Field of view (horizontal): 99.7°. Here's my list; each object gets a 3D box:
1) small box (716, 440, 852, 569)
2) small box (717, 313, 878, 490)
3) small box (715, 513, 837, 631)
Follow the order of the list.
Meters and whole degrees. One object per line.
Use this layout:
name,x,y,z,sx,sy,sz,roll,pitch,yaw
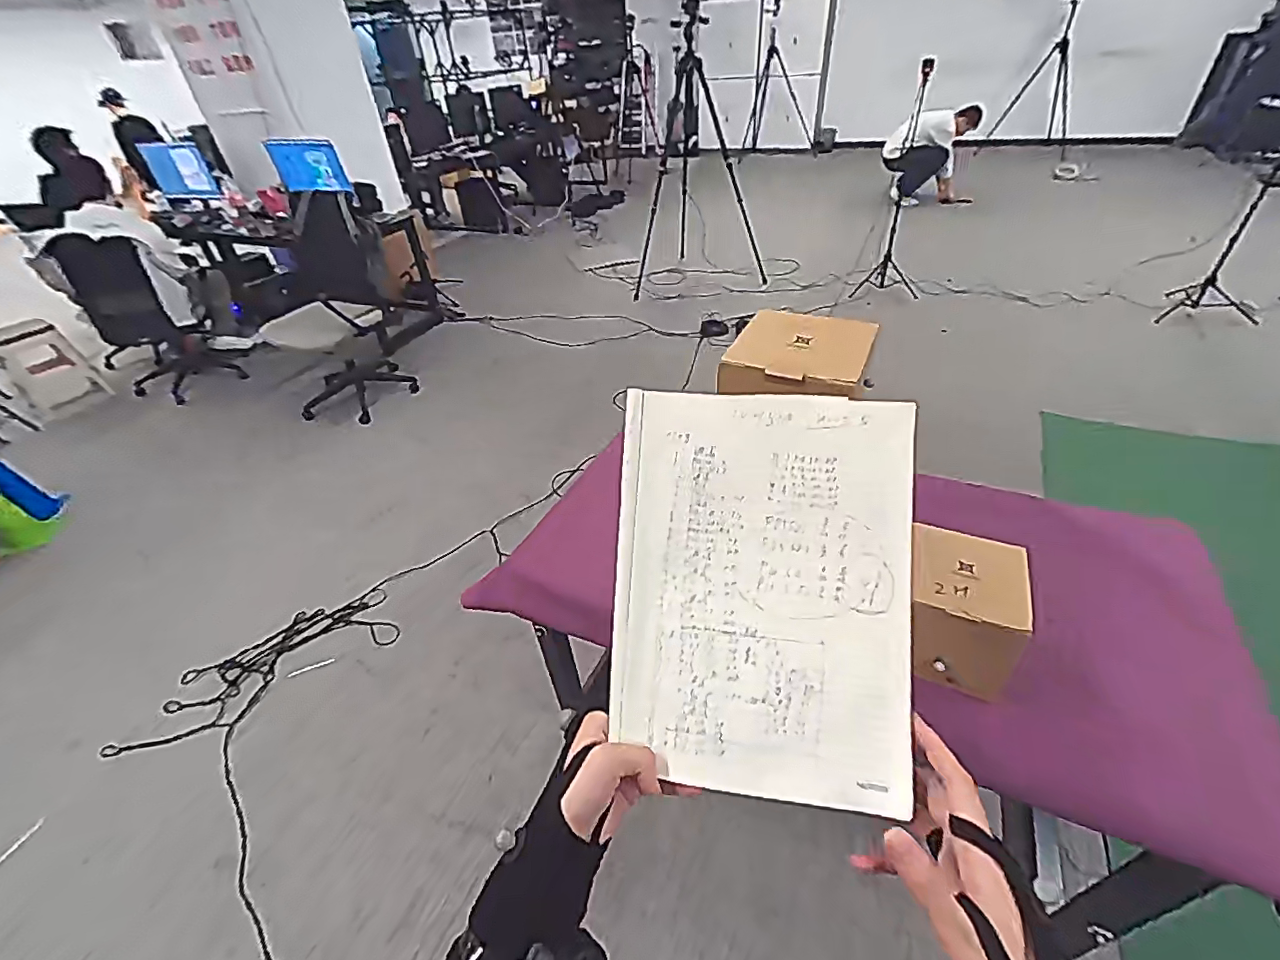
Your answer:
small box,0.227,0.013,0.855,0.168,0.176,0.179,15,42,23
small box,0.214,-0.111,0.749,0.168,0.176,0.179,16,43,23
small box,0.241,0.137,0.963,0.168,0.176,0.179,15,44,23
